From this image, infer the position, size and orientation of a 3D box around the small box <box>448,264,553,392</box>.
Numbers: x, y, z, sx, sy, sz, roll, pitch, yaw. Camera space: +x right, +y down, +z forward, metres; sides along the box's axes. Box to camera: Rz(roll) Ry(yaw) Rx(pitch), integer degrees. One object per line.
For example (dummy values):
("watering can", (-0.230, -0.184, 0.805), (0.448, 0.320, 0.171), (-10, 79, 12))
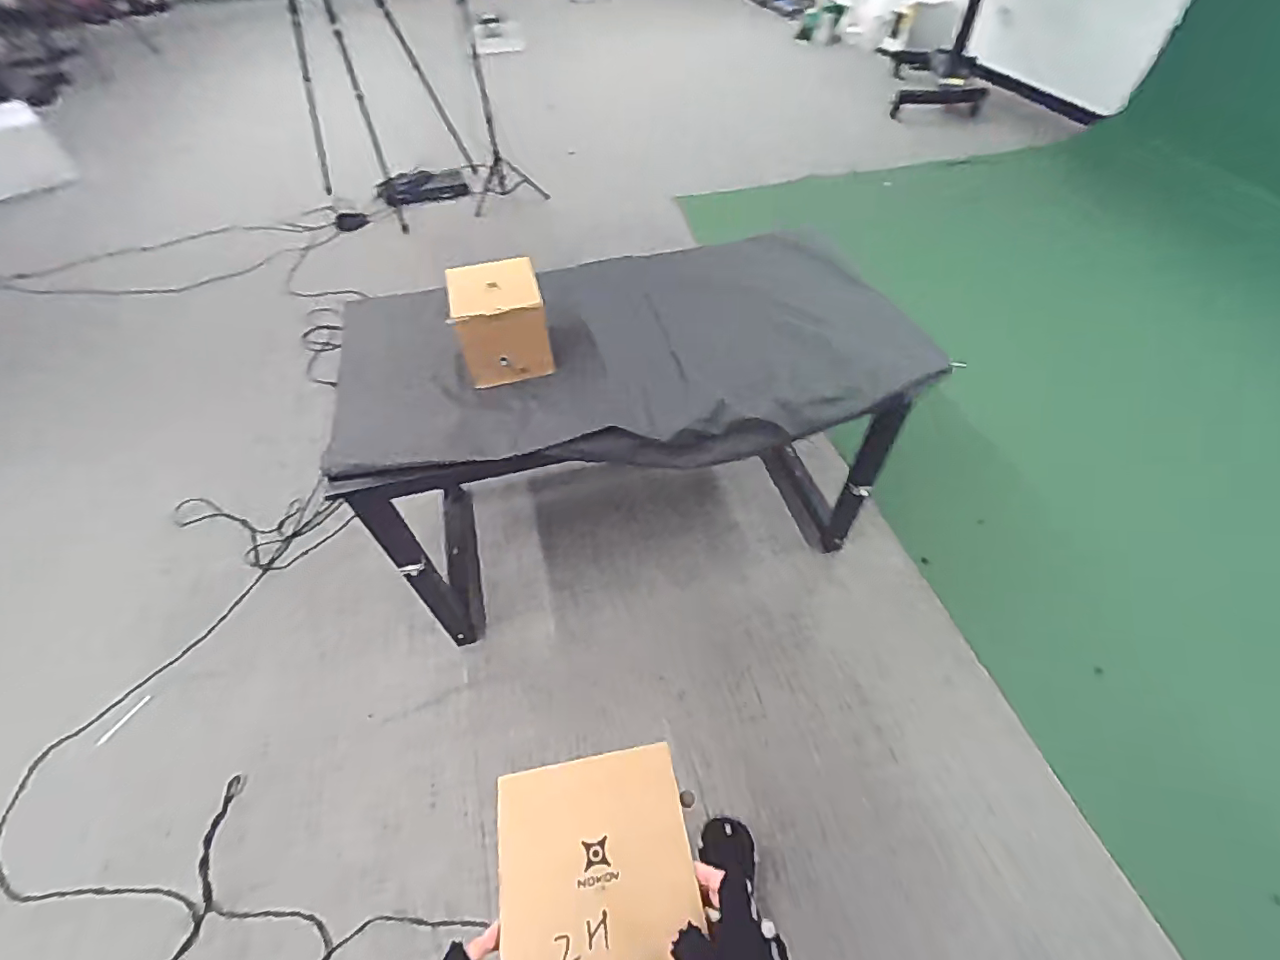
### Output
("small box", (-0.279, -0.305, 1.092), (0.168, 0.176, 0.179), (-13, 52, -10))

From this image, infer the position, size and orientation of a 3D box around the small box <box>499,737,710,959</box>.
("small box", (-0.039, 0.380, 0.524), (0.168, 0.176, 0.179), (-9, 48, -6))
